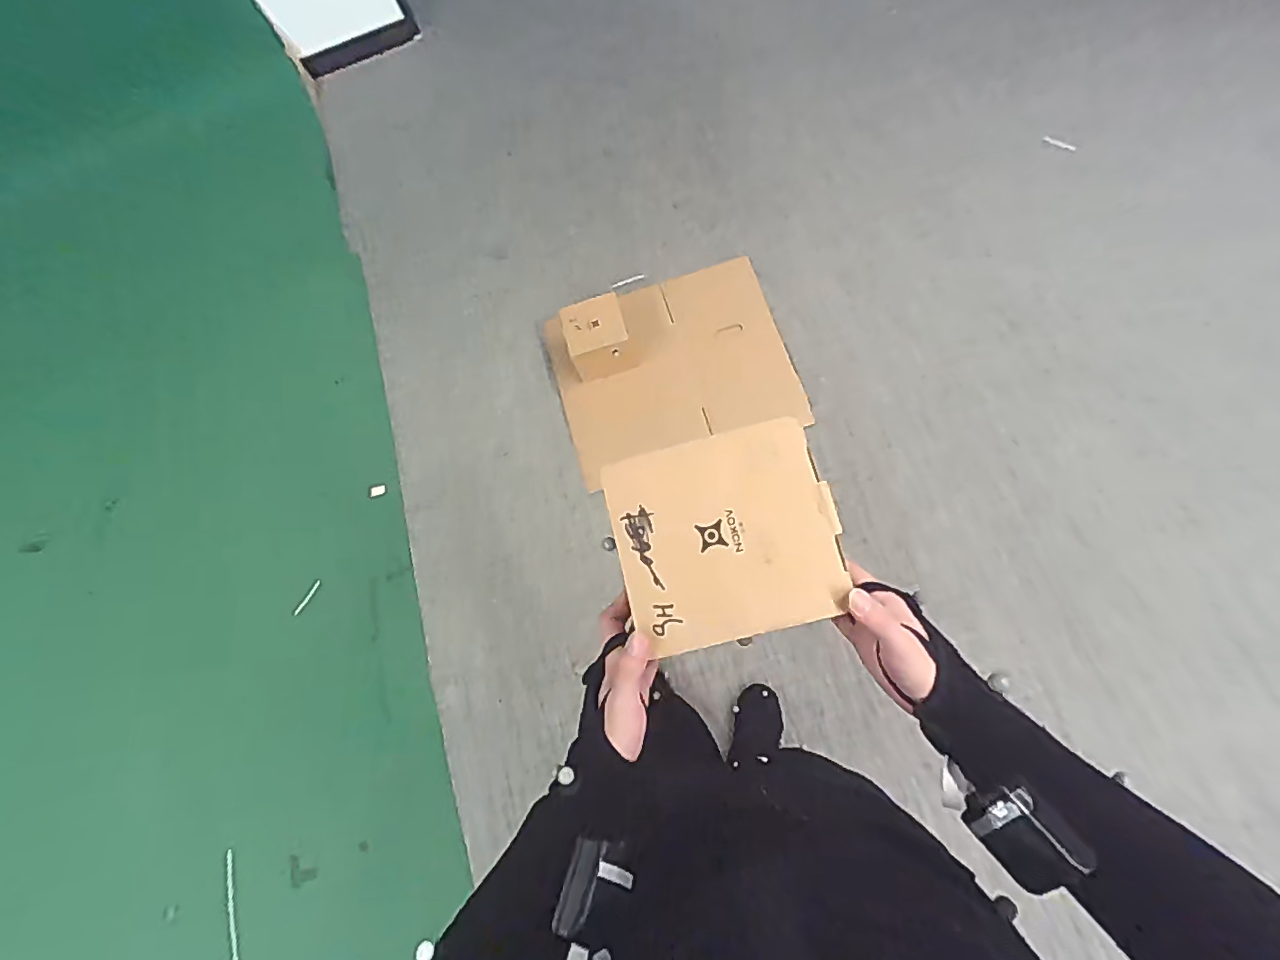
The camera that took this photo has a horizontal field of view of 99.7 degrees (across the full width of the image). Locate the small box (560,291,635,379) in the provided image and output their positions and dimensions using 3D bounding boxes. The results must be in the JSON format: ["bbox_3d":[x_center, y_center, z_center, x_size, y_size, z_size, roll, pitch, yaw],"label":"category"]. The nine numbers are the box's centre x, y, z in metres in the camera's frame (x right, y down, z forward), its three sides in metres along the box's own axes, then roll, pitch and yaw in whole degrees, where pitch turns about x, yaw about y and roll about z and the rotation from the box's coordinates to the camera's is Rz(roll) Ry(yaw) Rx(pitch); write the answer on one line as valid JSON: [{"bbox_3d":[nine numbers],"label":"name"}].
[{"bbox_3d":[-0.119,-0.425,1.610,0.179,0.176,0.168,-16,73,4],"label":"small box"}]

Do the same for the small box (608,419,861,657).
[{"bbox_3d":[0.079,0.061,0.516,0.179,0.176,0.168,-14,76,3],"label":"small box"}]
